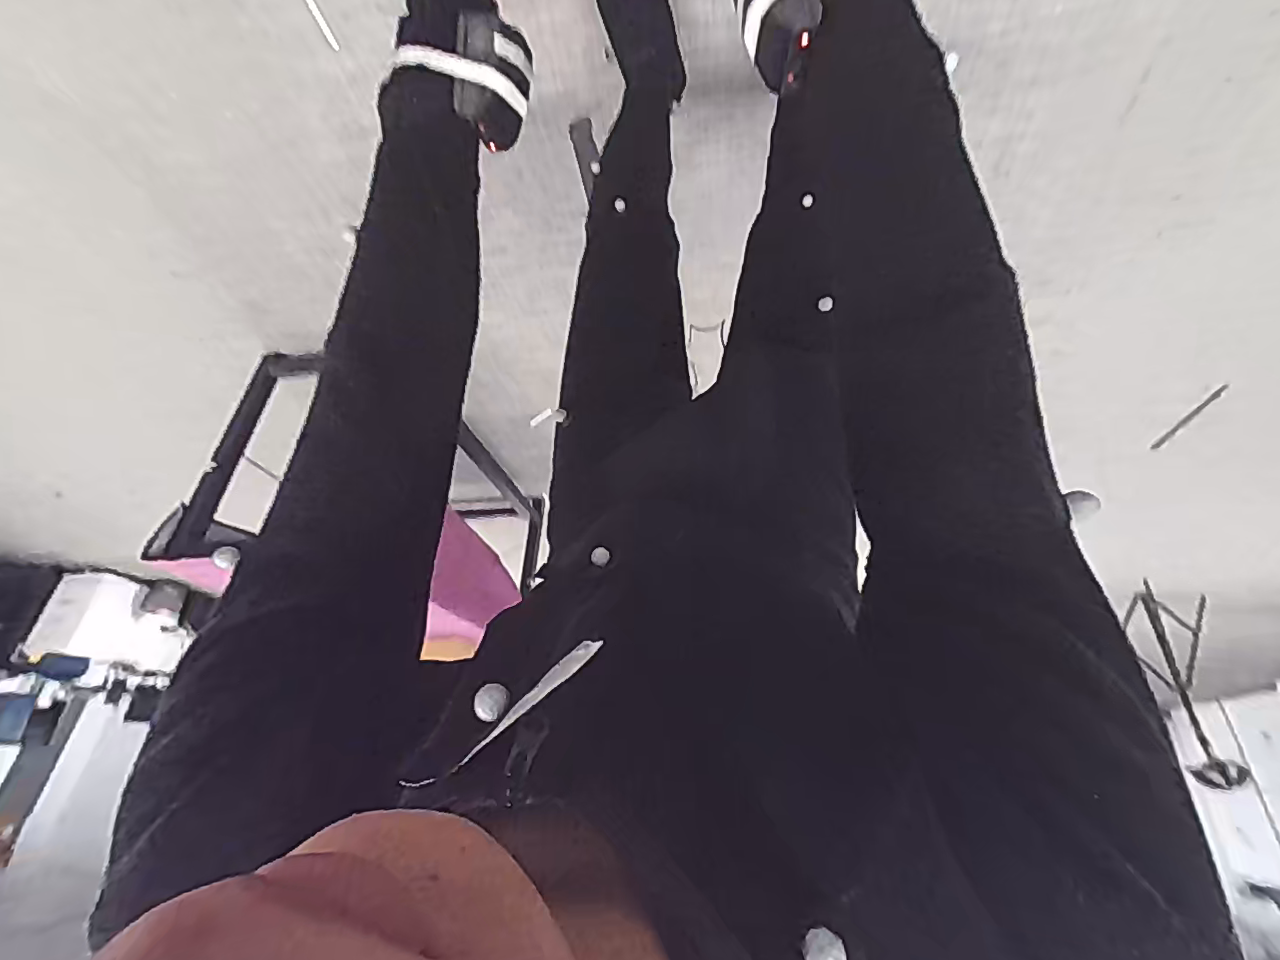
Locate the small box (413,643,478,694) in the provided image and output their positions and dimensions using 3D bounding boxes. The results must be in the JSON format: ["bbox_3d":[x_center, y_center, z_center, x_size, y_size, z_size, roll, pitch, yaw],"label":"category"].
[{"bbox_3d":[-0.756,0.743,2.127,0.179,0.176,0.168,-7,149,18],"label":"small box"}]
